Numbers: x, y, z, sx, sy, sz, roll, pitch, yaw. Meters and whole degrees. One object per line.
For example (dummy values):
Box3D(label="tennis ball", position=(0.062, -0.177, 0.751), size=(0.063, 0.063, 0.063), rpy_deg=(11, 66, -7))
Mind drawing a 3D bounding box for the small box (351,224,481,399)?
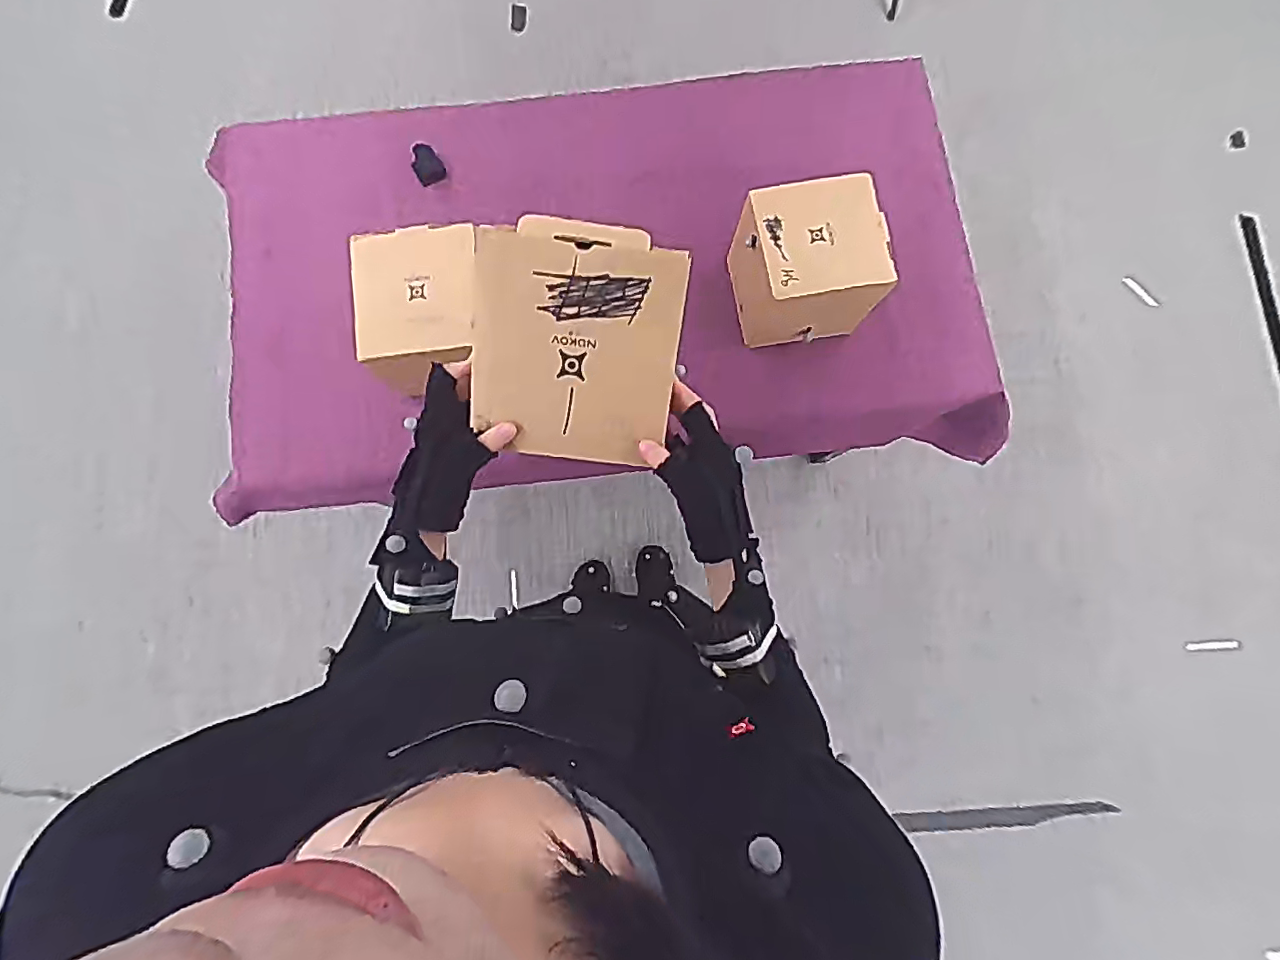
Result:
Box3D(label="small box", position=(-0.290, -0.233, 0.779), size=(0.168, 0.176, 0.179), rpy_deg=(-8, 82, -2))

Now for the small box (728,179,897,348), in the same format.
Box3D(label="small box", position=(0.245, -0.314, 0.811), size=(0.179, 0.176, 0.168), rpy_deg=(-9, 81, -4))

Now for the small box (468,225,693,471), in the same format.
Box3D(label="small box", position=(-0.052, -0.121, 0.510), size=(0.168, 0.176, 0.179), rpy_deg=(7, 106, -2))
